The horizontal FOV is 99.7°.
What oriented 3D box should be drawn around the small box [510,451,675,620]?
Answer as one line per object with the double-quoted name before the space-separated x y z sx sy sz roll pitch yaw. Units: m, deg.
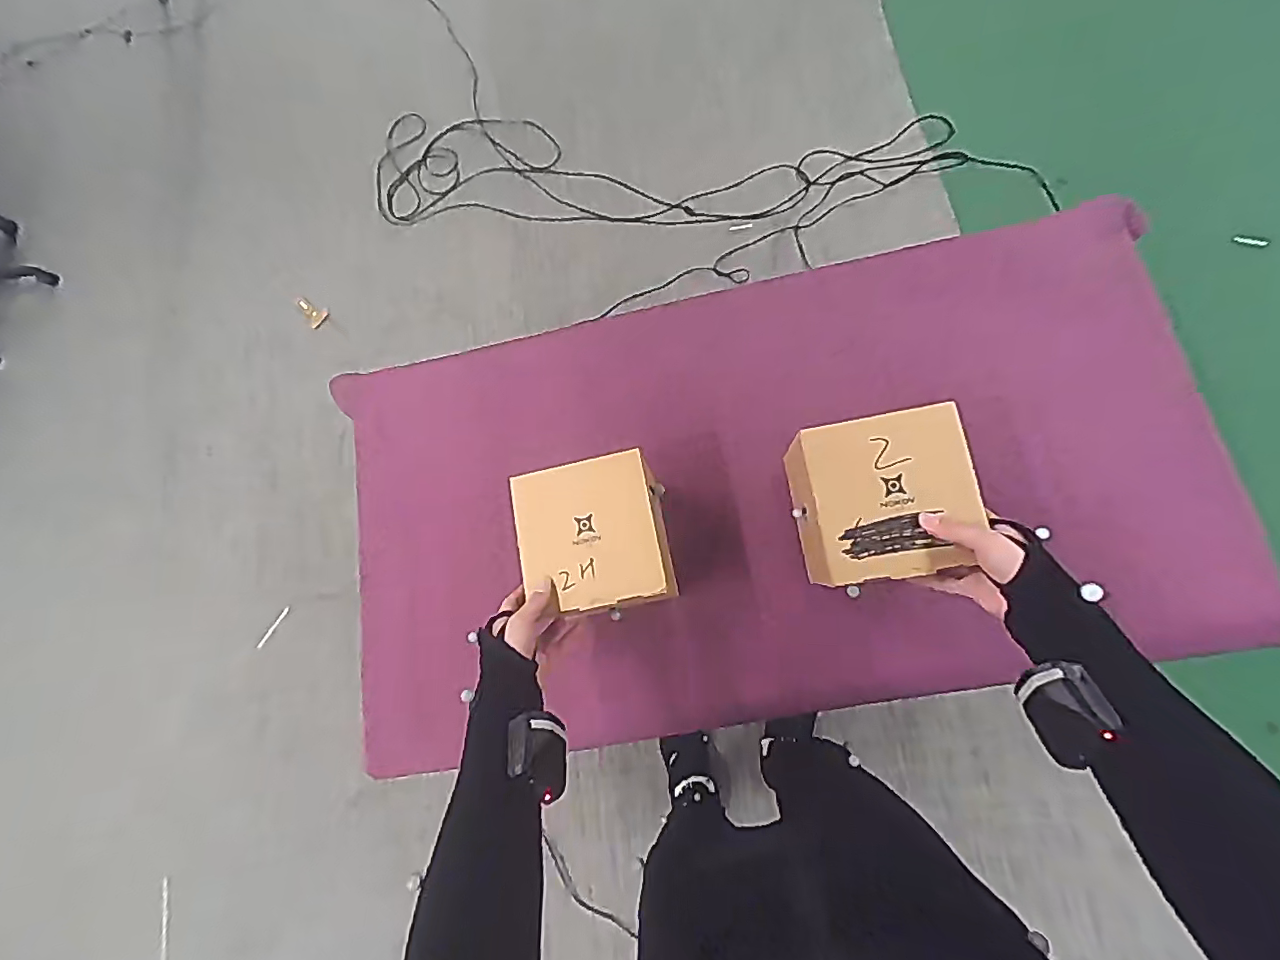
"small box" -0.054 0.081 0.700 0.168 0.176 0.179 -12 76 6
